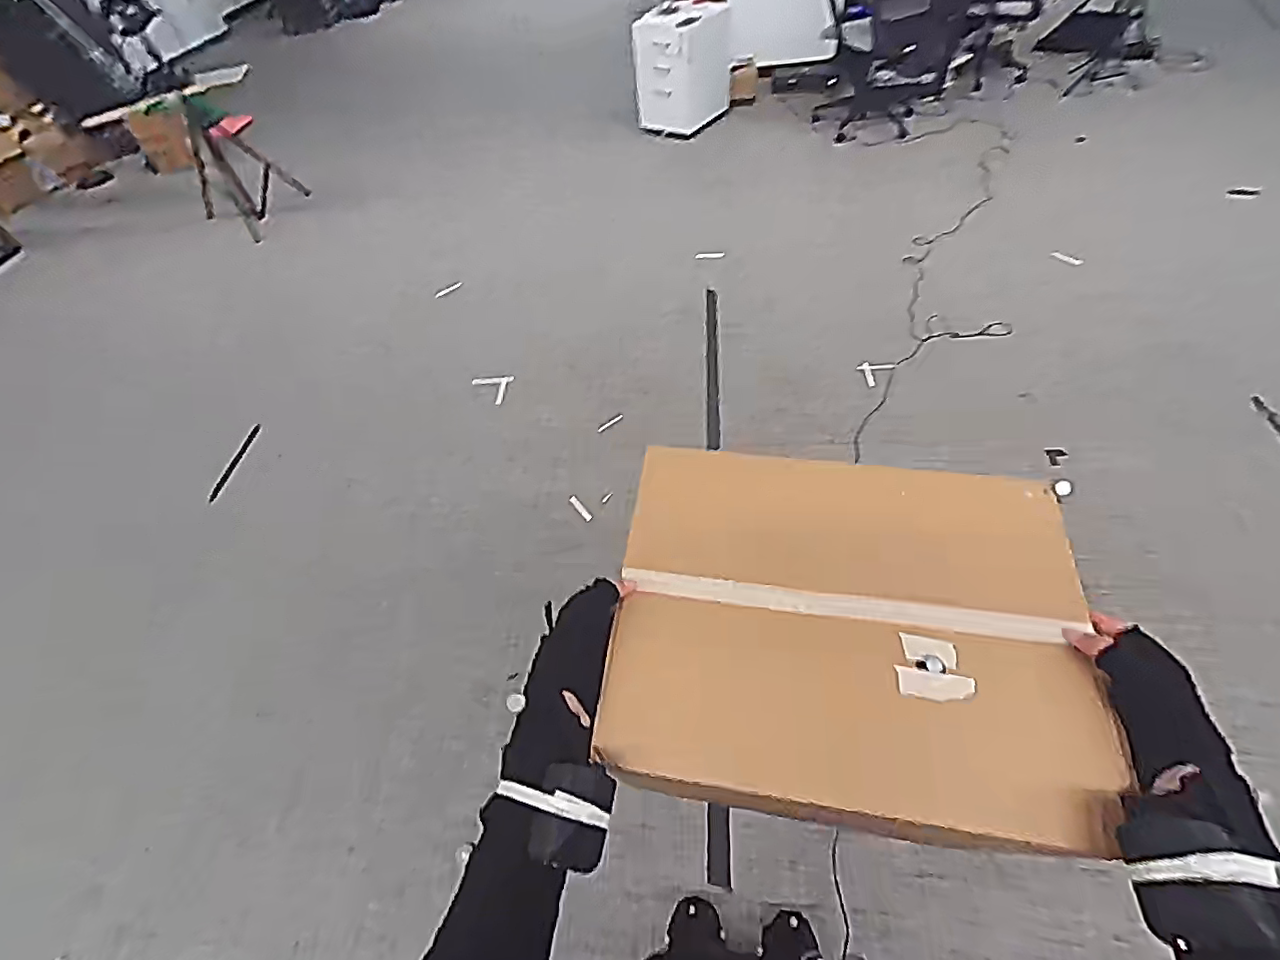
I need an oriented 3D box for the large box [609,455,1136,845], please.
[{"bbox_3d":[0.198,0.198,0.621,0.408,0.320,0.320,7,59,8],"label":"large box"}]
